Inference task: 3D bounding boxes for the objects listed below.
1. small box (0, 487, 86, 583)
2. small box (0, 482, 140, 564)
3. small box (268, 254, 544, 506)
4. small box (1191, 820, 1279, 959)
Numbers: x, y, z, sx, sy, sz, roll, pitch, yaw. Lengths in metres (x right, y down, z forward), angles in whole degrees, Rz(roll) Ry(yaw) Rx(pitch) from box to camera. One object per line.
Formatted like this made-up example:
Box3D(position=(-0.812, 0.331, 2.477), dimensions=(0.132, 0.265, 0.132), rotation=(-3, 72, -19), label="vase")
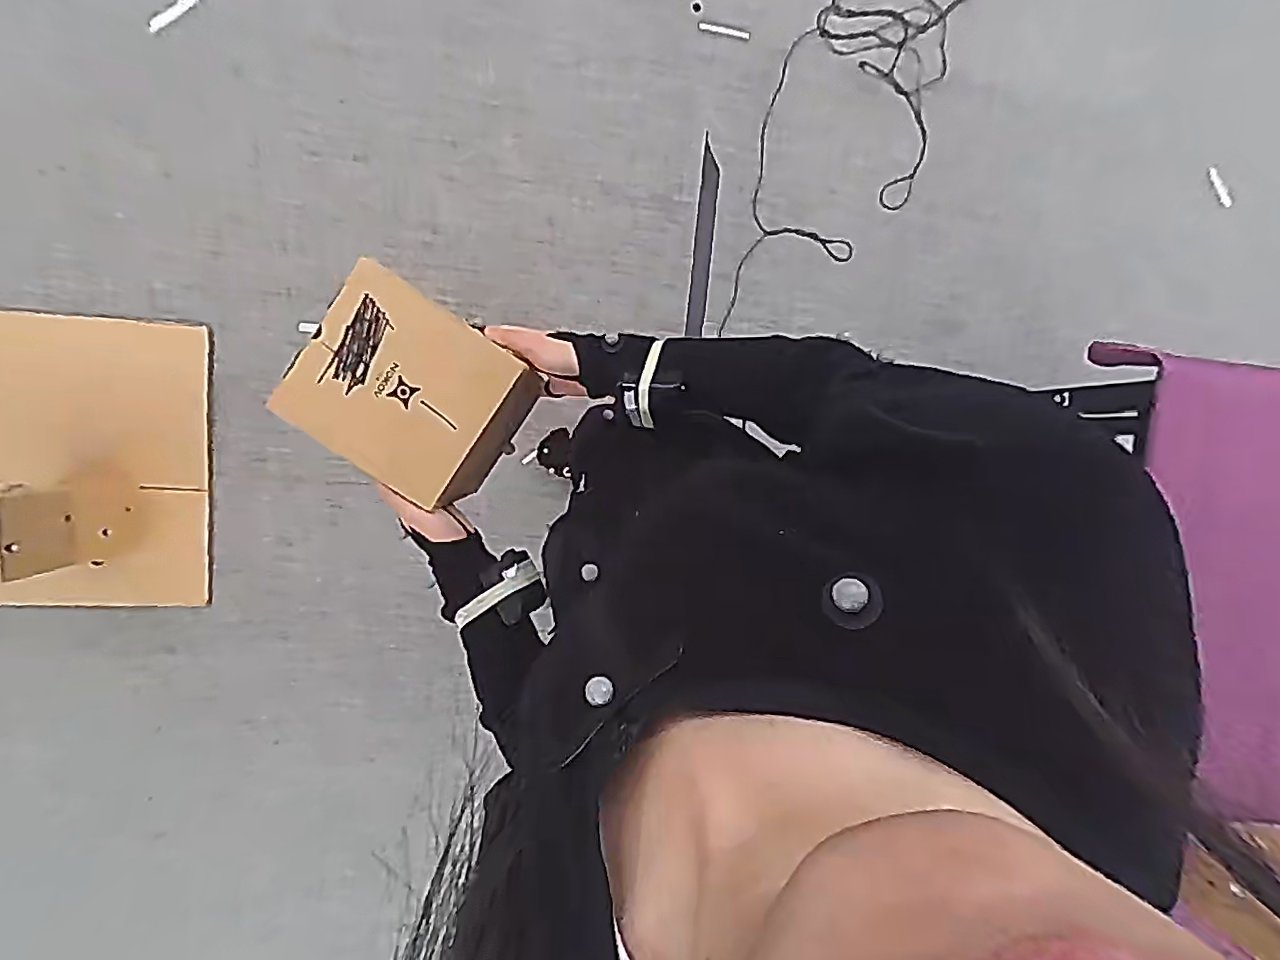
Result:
Box3D(position=(-1.274, 0.105, 1.074), dimensions=(0.179, 0.176, 0.168), rotation=(-1, 95, -7), label="small box")
Box3D(position=(-1.294, 0.092, 1.236), dimensions=(0.179, 0.176, 0.168), rotation=(1, 94, -8), label="small box")
Box3D(position=(-0.223, -0.094, 0.567), dimensions=(0.179, 0.176, 0.168), rotation=(34, 93, -5), label="small box")
Box3D(position=(1.070, 0.685, 0.873), dimensions=(0.179, 0.176, 0.168), rotation=(10, 92, -9), label="small box")
